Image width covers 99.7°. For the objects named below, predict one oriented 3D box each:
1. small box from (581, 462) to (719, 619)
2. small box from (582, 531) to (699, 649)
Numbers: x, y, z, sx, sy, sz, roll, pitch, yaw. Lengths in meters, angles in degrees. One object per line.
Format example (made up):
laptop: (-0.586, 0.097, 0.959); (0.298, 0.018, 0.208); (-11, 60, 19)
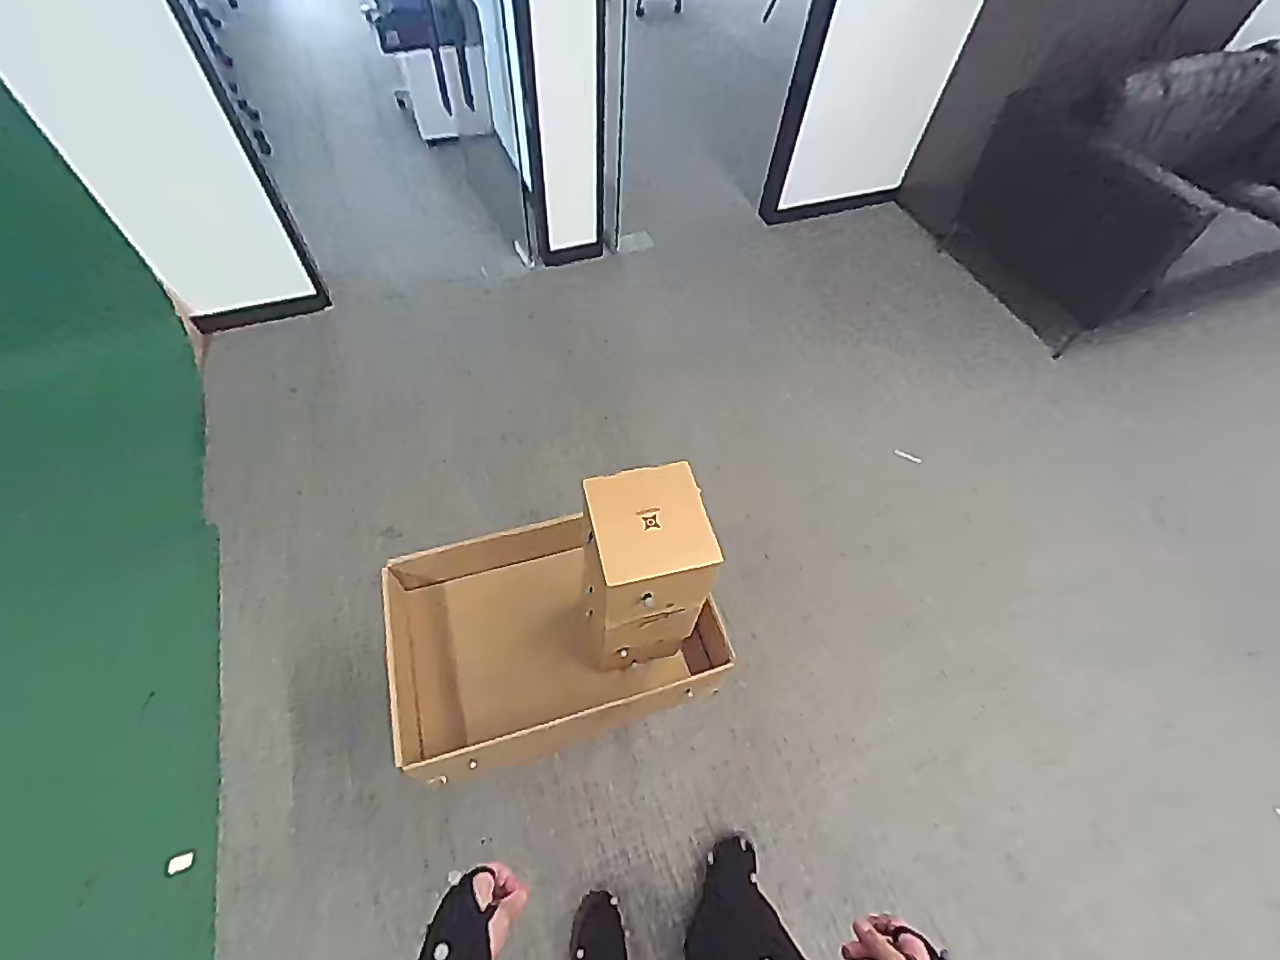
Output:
small box: (0.008, 0.100, 0.831); (0.168, 0.176, 0.179); (-11, 58, -10)
small box: (-0.004, 0.189, 0.967); (0.168, 0.176, 0.179); (-11, 58, -11)
